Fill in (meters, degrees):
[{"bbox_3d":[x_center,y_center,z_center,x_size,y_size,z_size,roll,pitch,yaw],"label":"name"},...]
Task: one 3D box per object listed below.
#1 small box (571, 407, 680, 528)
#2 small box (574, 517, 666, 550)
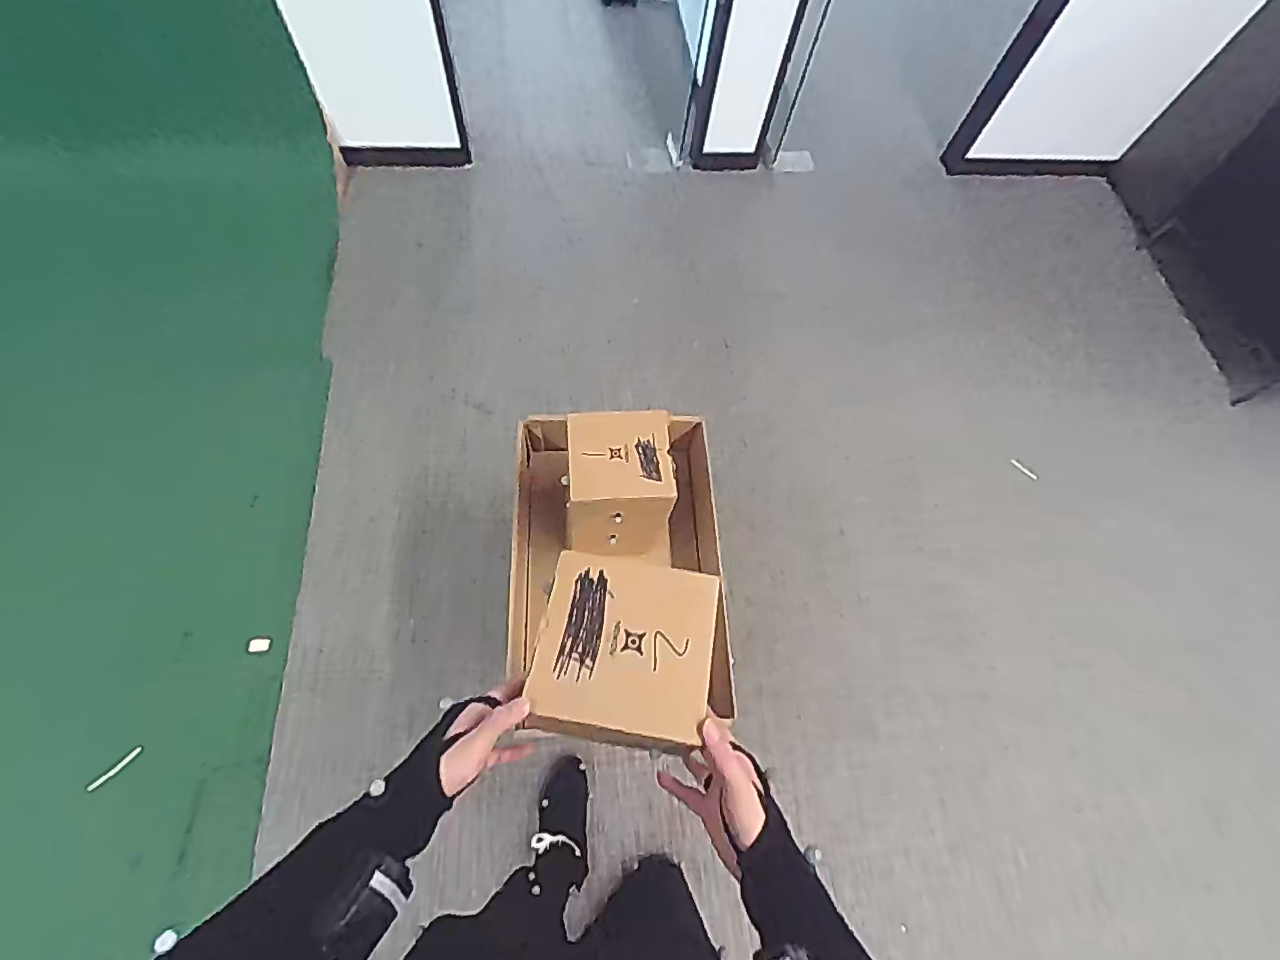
[{"bbox_3d":[-0.033,-0.018,0.967,0.179,0.176,0.168,-2,67,-6],"label":"small box"},{"bbox_3d":[-0.049,0.044,1.119,0.179,0.176,0.168,-1,67,-6],"label":"small box"}]
